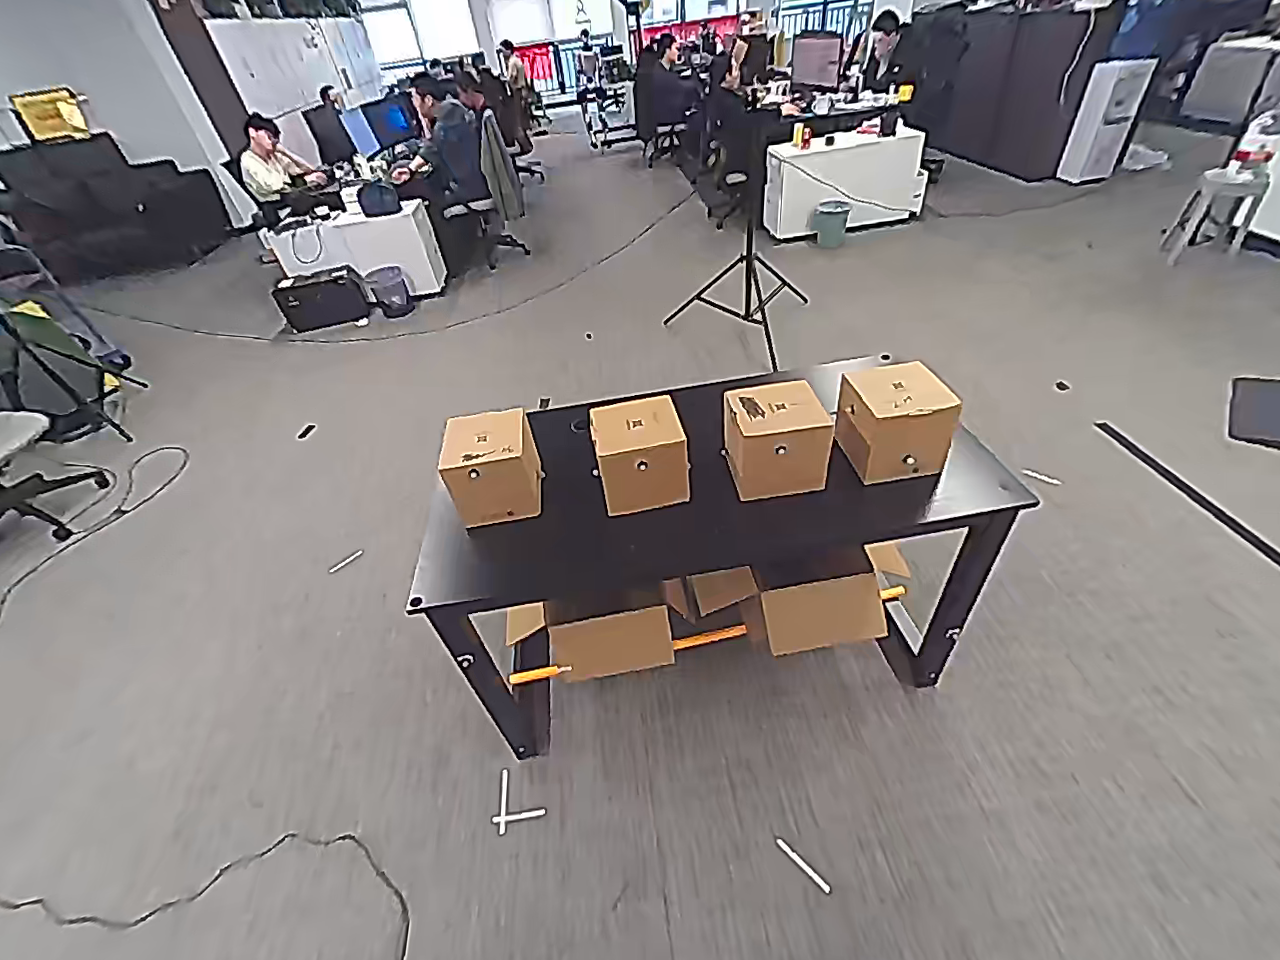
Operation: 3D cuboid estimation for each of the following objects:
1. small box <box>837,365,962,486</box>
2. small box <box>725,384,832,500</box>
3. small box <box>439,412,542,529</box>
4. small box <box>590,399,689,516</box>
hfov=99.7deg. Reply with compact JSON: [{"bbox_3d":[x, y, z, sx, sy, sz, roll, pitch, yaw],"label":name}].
[{"bbox_3d":[0.520,-0.112,1.116,0.168,0.176,0.179,-9,40,1],"label":"small box"},{"bbox_3d":[0.277,-0.075,1.117,0.179,0.176,0.168,-8,40,1],"label":"small box"},{"bbox_3d":[-0.310,-0.021,1.157,0.168,0.176,0.179,-10,40,-2],"label":"small box"},{"bbox_3d":[0.000,-0.044,1.134,0.179,0.176,0.168,-11,42,-4],"label":"small box"}]
